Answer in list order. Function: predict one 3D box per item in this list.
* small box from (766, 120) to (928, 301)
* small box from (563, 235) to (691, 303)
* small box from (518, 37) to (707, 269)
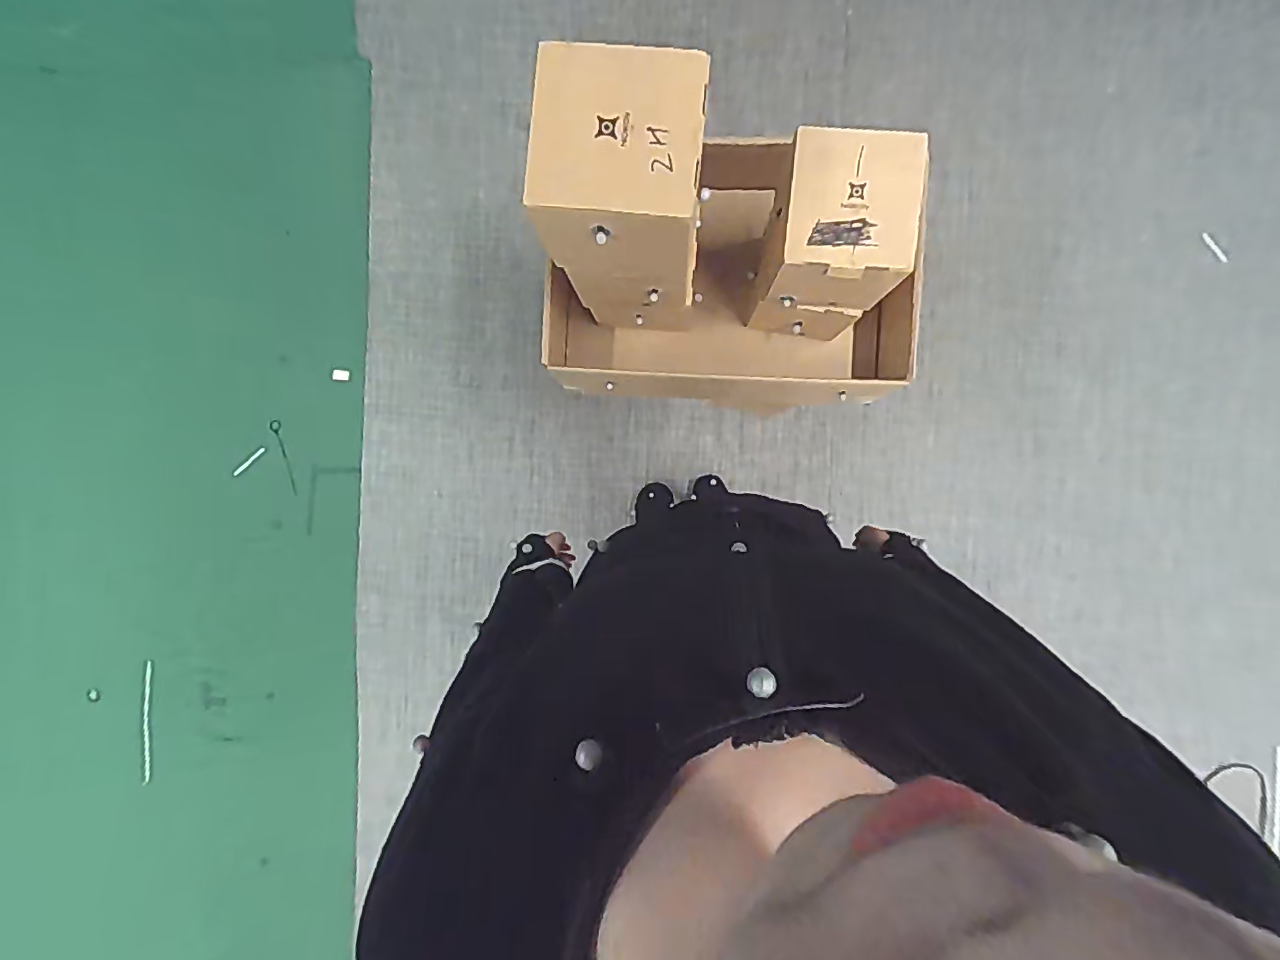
[{"bbox_3d":[0.277,-0.365,0.762,0.168,0.176,0.179,6,91,4],"label":"small box"},{"bbox_3d":[-0.009,-0.368,0.785,0.168,0.176,0.179,4,91,4],"label":"small box"},{"bbox_3d":[-0.023,-0.357,0.621,0.179,0.176,0.168,7,92,3],"label":"small box"}]
